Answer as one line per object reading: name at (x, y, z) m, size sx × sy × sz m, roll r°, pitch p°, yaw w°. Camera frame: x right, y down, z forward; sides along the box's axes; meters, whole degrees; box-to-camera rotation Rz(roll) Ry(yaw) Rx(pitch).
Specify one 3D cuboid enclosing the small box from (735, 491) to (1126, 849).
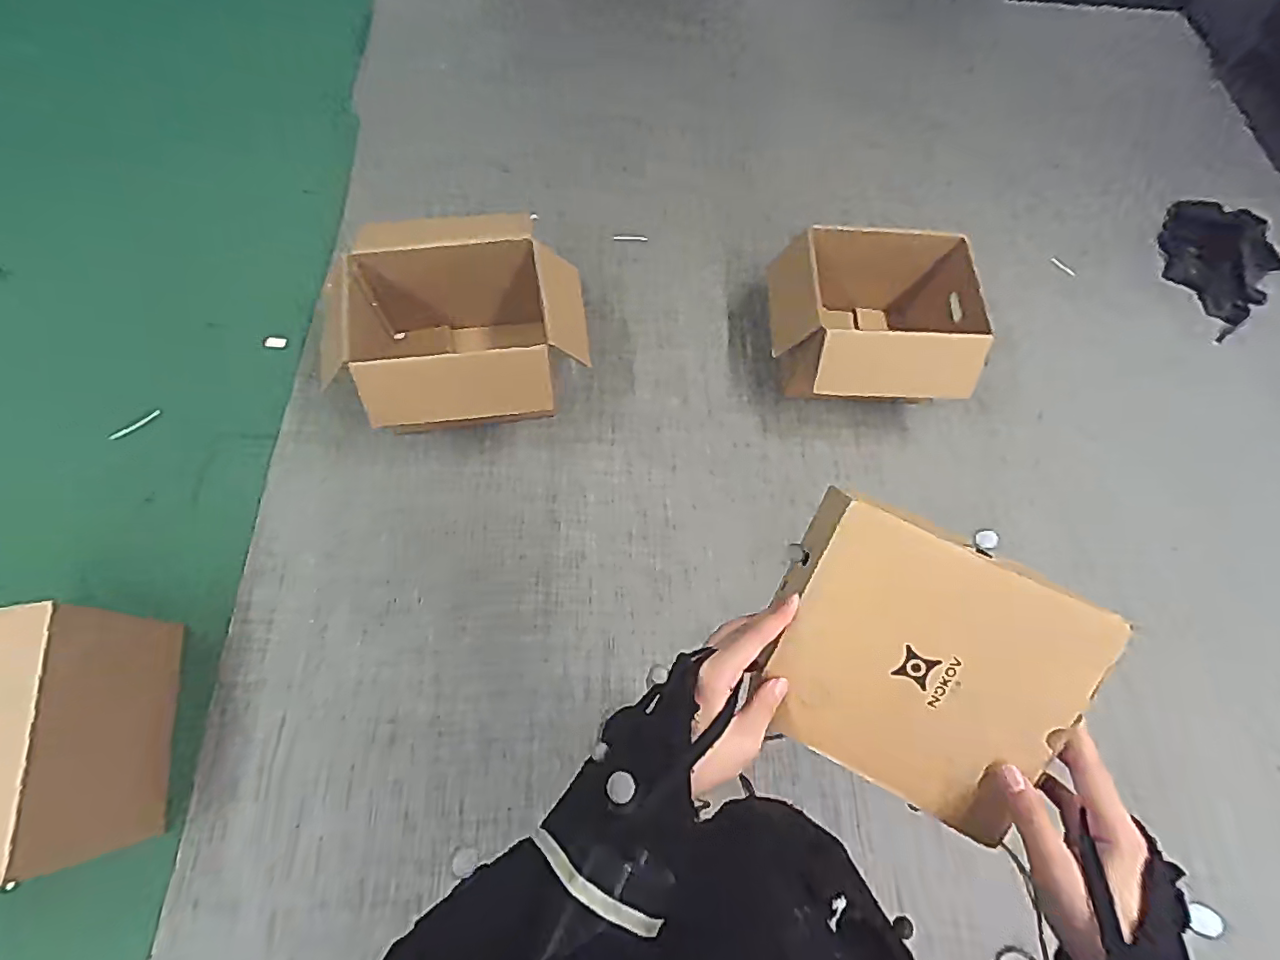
small box at (0.190, 0.116, 0.415) m, size 0.179 × 0.176 × 0.168 m, roll 26°, pitch 98°, yaw 11°
